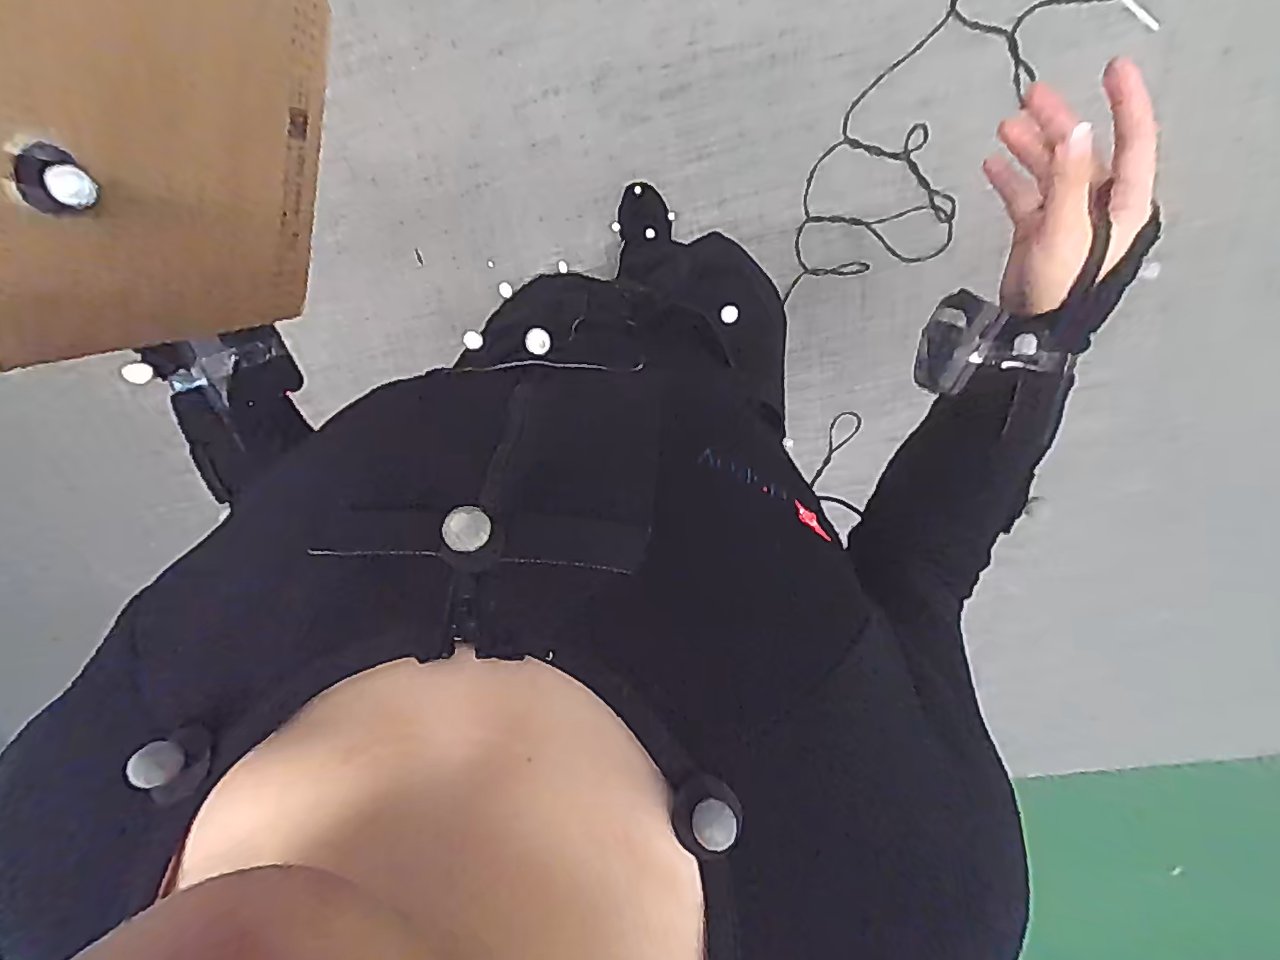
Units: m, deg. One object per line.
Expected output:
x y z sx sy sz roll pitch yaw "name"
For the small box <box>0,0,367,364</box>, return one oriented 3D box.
-0.250 -0.168 0.225 0.179 0.176 0.168 19 114 -4 "small box"
